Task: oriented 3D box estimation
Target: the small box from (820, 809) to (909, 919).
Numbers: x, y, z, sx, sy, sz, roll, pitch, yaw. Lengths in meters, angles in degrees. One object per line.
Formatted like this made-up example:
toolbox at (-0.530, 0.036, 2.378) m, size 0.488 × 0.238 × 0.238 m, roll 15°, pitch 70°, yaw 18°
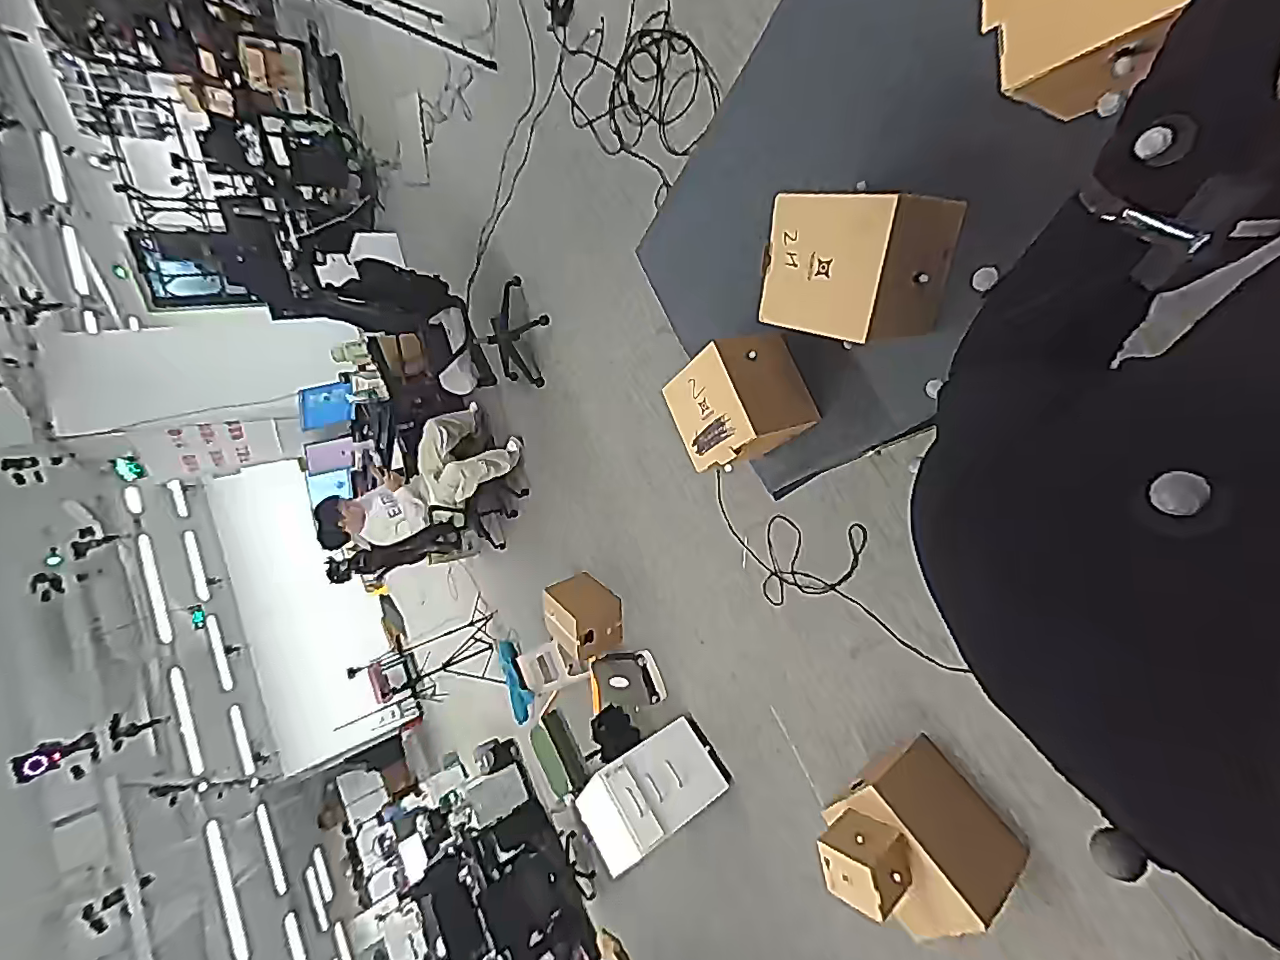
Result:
small box at (0.660, 1.104, 1.574) m, size 0.179 × 0.176 × 0.168 m, roll -9°, pitch 97°, yaw 53°

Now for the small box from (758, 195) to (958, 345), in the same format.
small box at (0.291, -0.290, 0.732) m, size 0.179 × 0.176 × 0.168 m, roll 32°, pitch 128°, yaw 45°

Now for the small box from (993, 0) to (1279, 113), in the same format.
small box at (0.433, -0.451, 0.463) m, size 0.179 × 0.176 × 0.168 m, roll 5°, pitch 107°, yaw 55°
